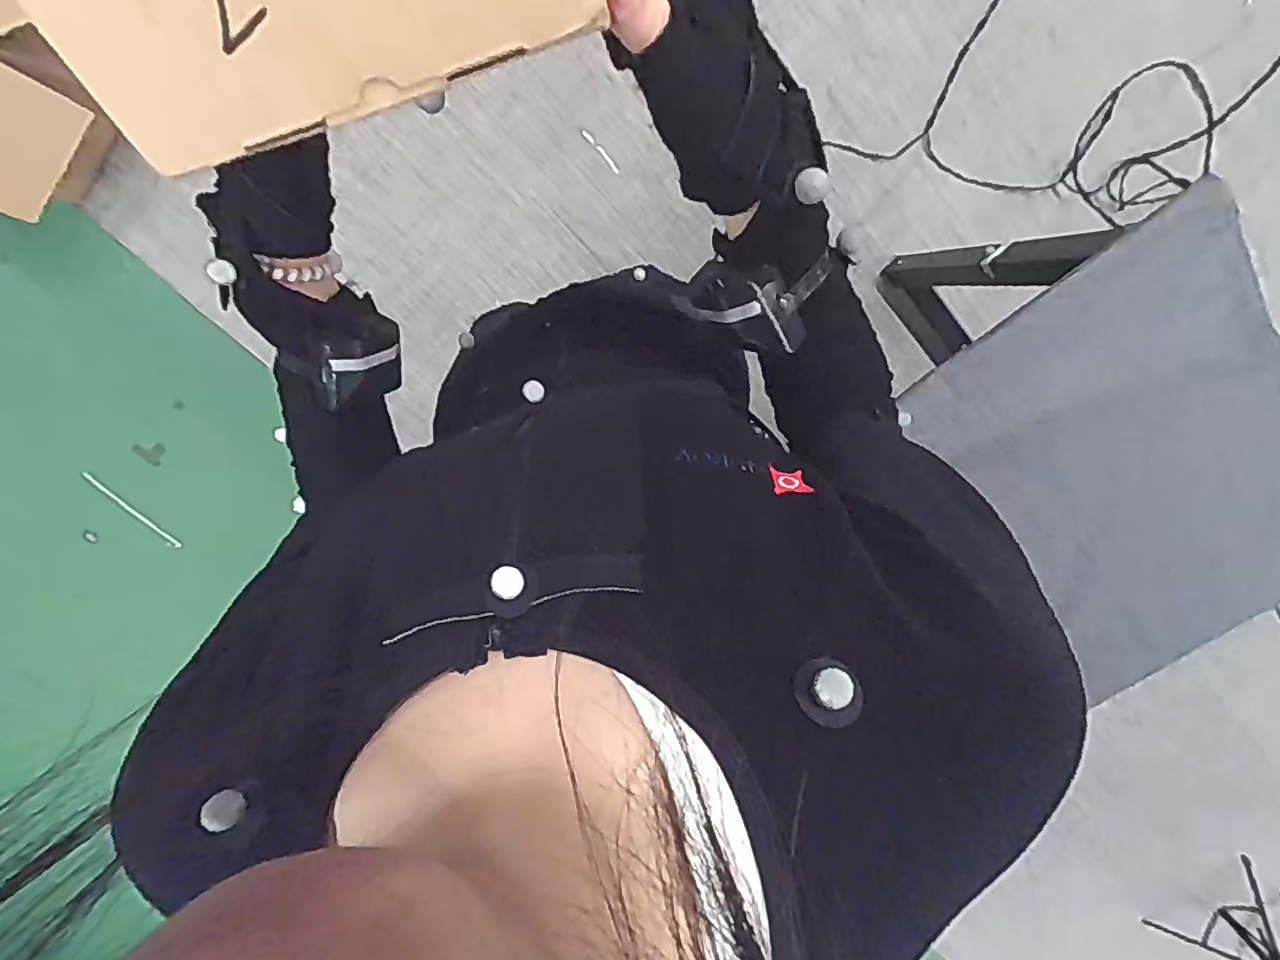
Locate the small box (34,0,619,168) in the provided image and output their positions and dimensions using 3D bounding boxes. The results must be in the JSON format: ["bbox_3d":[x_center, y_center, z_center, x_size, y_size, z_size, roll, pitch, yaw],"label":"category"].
[{"bbox_3d":[-0.120,-0.242,0.184,0.168,0.176,0.179,-18,134,1],"label":"small box"}]
